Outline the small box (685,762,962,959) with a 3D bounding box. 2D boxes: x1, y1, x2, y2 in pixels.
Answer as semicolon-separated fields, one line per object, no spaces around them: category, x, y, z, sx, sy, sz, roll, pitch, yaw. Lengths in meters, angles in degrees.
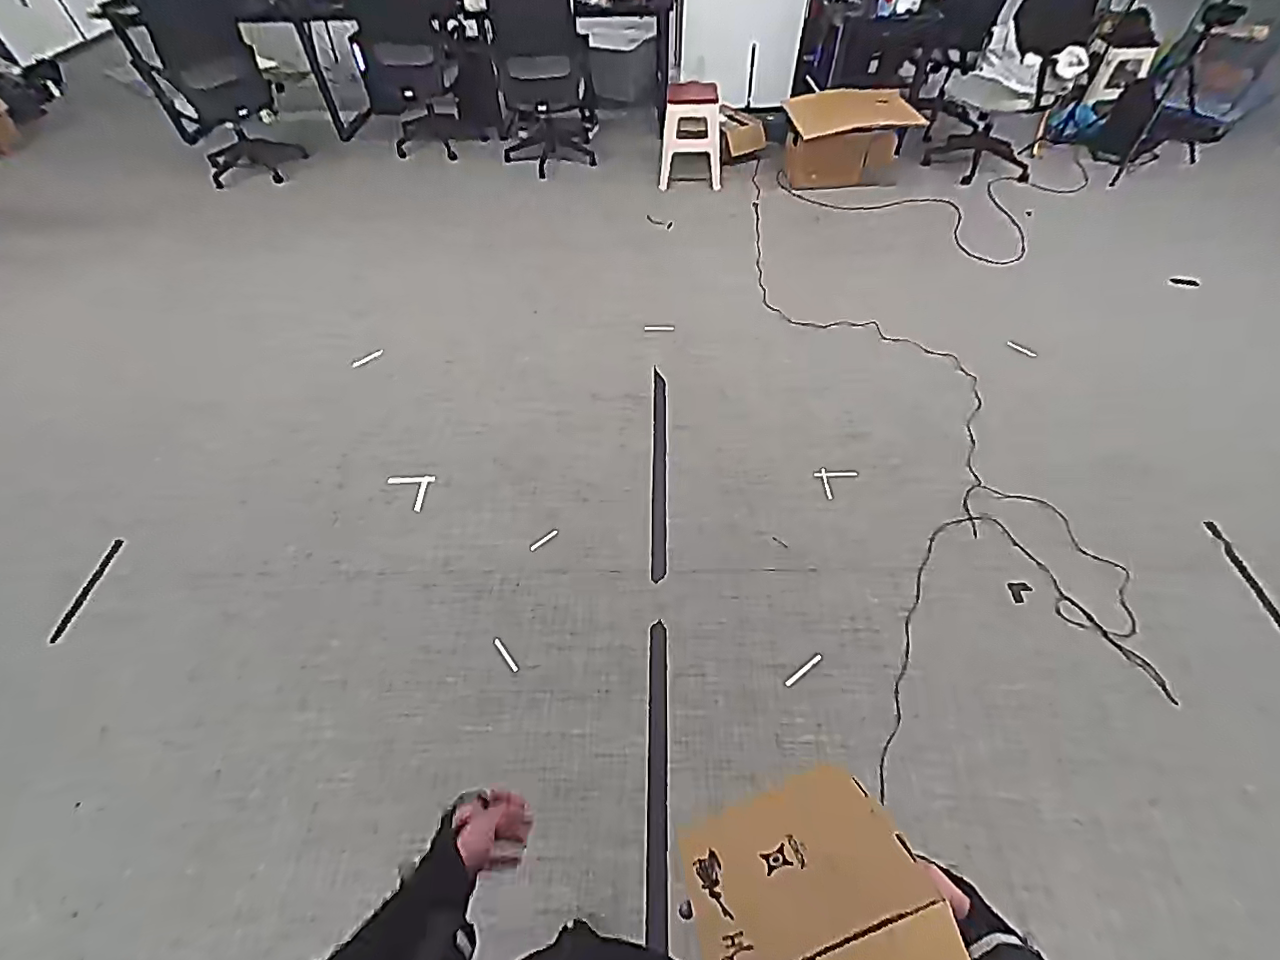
small box;0.158;0.394;0.465;0.179;0.168;0.176;-22;95;-3
